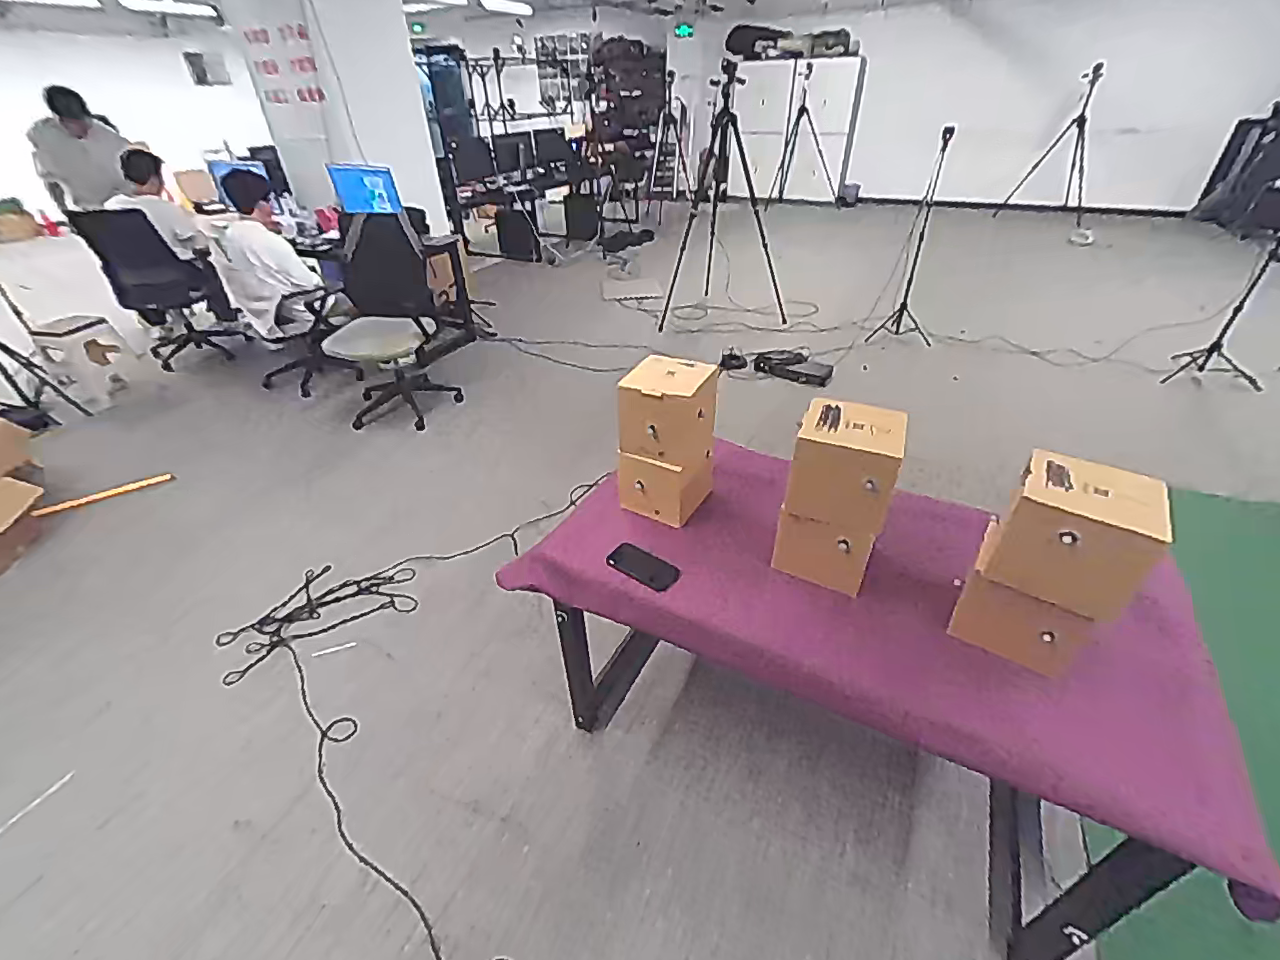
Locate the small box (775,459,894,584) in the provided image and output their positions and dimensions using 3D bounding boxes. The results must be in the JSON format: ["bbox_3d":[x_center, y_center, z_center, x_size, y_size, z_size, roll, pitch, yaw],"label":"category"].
[{"bbox_3d":[0.391,0.086,1.101,0.179,0.176,0.168,18,40,25],"label":"small box"}]

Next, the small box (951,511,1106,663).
[{"bbox_3d":[0.678,0.188,0.945,0.179,0.176,0.168,22,42,31],"label":"small box"}]

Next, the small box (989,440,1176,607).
[{"bbox_3d":[0.671,0.065,0.836,0.179,0.176,0.168,22,42,29],"label":"small box"}]

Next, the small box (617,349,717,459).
[{"bbox_3d":[0.064,-0.168,1.194,0.168,0.176,0.179,15,40,21],"label":"small box"}]

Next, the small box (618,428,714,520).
[{"bbox_3d":[0.066,-0.030,1.284,0.168,0.176,0.179,18,40,26],"label":"small box"}]
